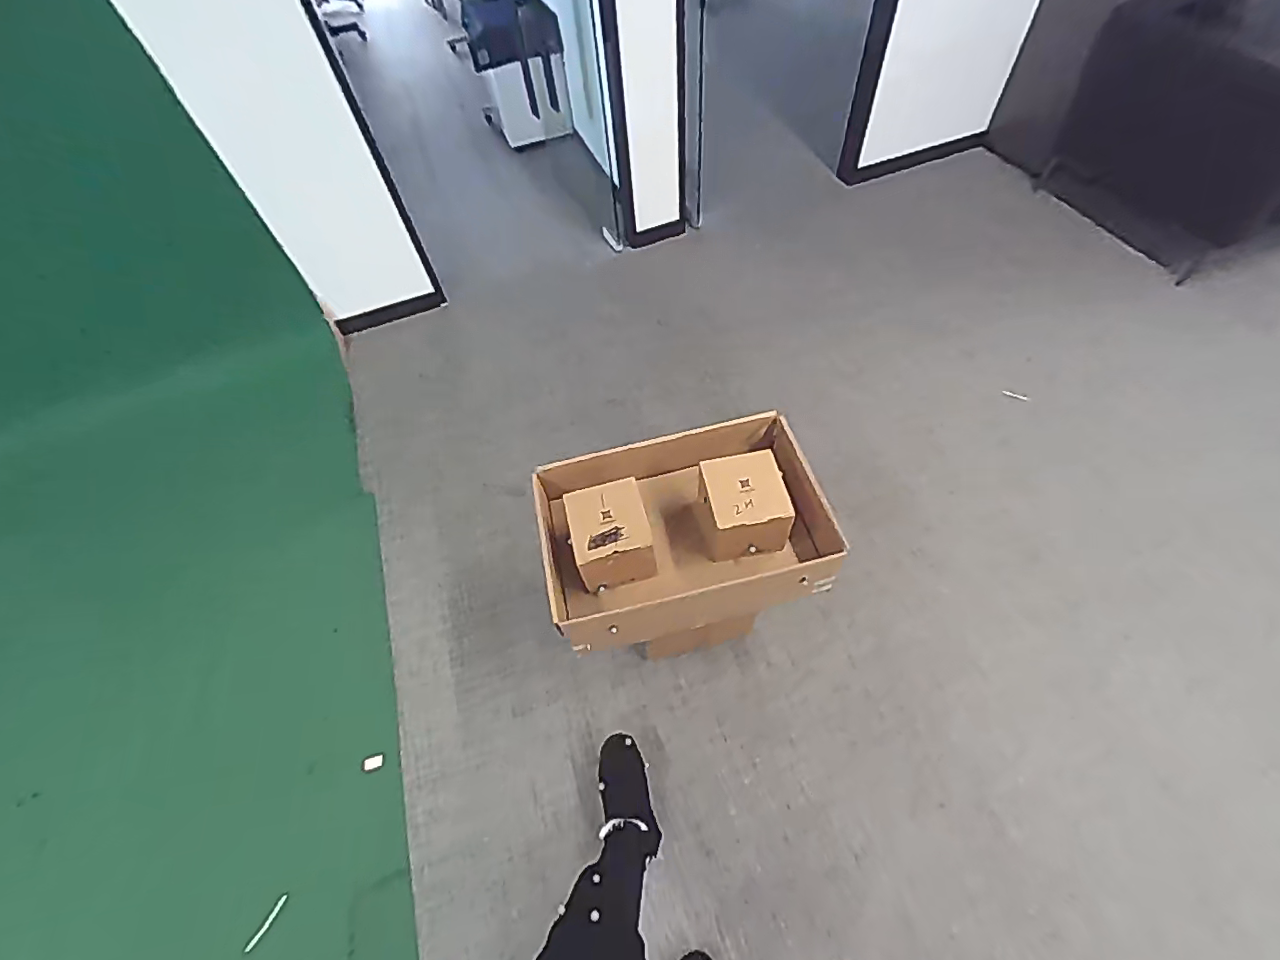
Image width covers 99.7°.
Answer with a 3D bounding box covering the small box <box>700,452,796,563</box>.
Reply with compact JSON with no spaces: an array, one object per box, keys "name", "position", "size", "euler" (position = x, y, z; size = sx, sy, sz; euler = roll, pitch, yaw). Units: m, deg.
[{"name":"small box","position":[0.233,0.065,1.214],"size":[0.168,0.176,0.179],"euler":[-10,57,-1]}]
